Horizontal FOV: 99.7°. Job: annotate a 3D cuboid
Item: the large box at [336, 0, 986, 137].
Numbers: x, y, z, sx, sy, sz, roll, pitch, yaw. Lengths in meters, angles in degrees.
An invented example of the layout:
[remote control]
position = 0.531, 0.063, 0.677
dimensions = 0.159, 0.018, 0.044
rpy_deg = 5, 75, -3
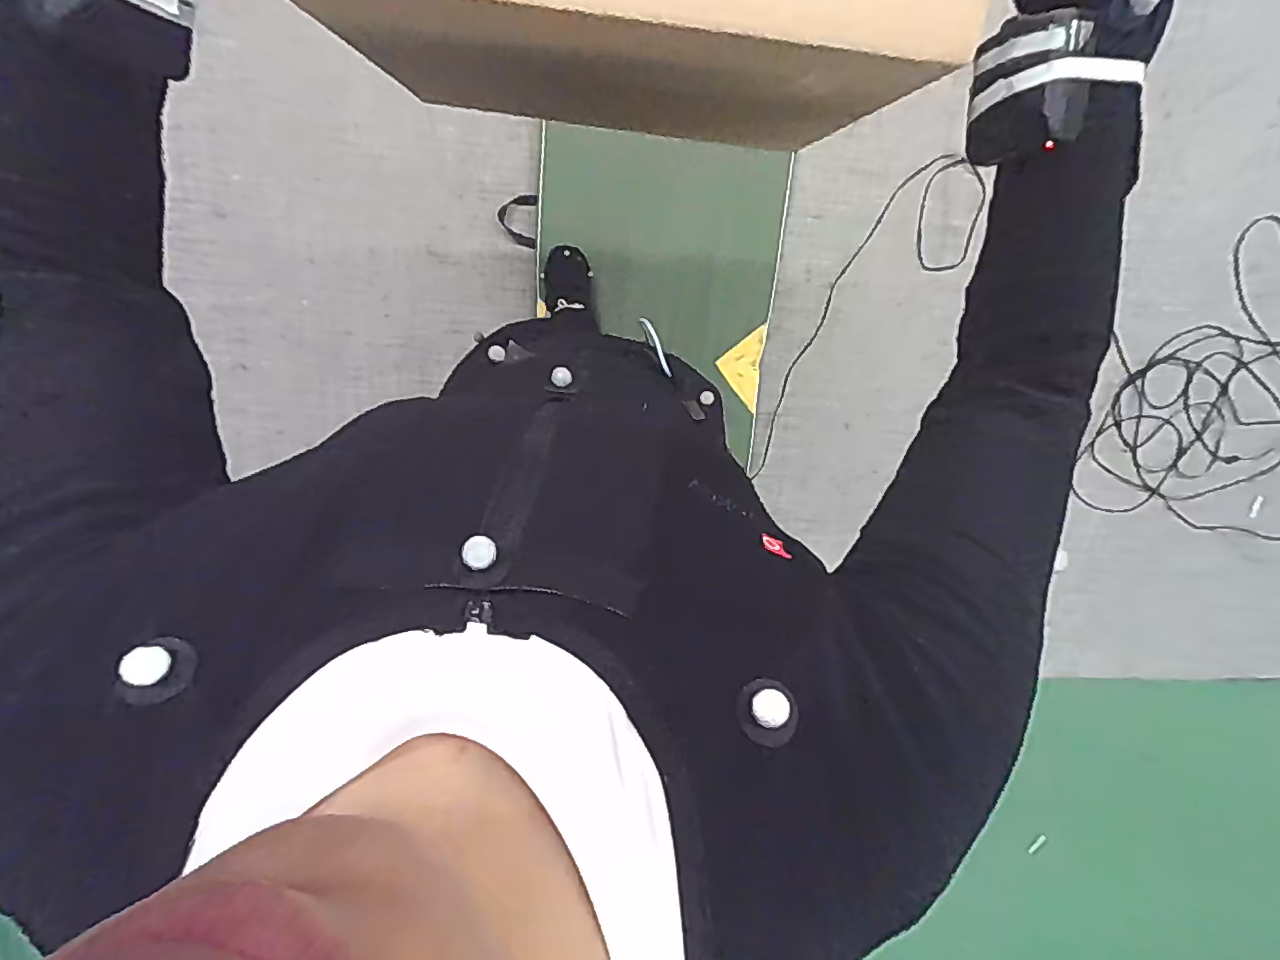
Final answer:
[large box]
position = 0.003, -0.466, 0.380
dimensions = 0.408, 0.320, 0.320
rpy_deg = 3, 113, -6
